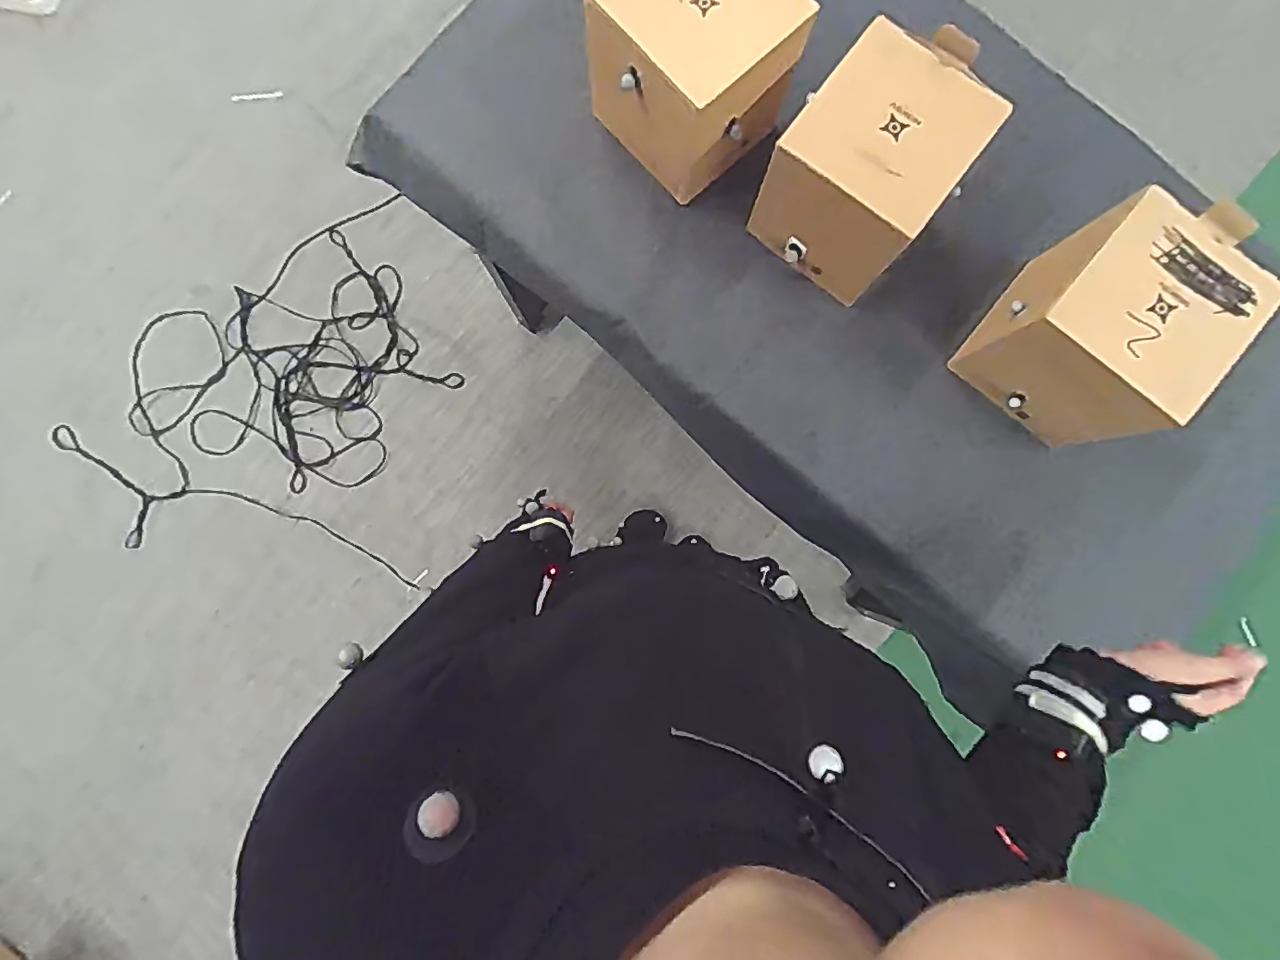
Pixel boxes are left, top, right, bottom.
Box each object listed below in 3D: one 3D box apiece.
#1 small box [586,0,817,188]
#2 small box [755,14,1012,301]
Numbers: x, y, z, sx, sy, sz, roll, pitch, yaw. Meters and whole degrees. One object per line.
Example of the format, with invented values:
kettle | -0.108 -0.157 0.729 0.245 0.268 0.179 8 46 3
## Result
small box | 0.061 -0.472 0.614 0.168 0.176 0.179 -42 87 -4
small box | 0.251 -0.342 0.607 0.168 0.176 0.179 37 86 3
